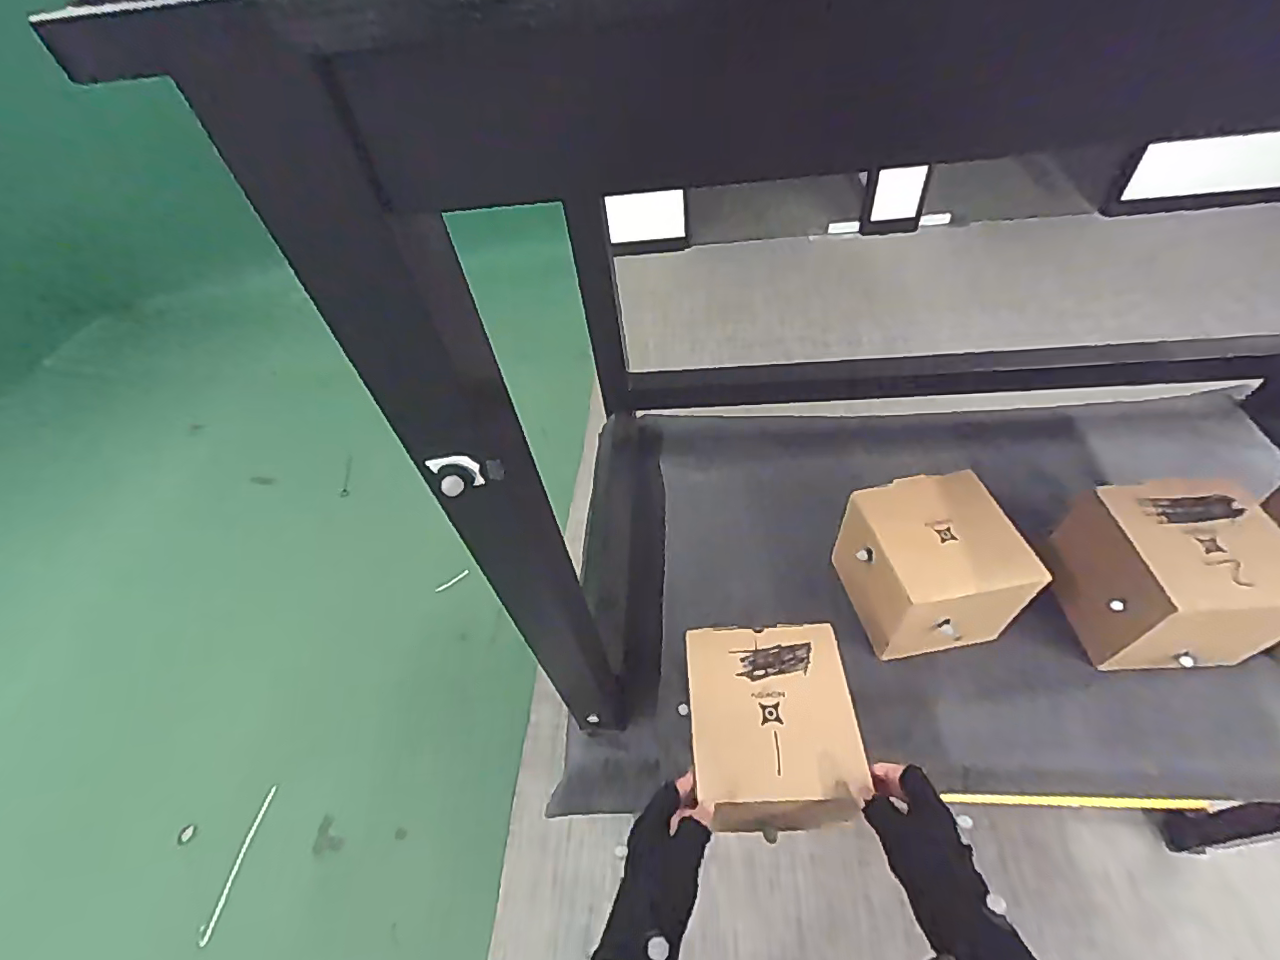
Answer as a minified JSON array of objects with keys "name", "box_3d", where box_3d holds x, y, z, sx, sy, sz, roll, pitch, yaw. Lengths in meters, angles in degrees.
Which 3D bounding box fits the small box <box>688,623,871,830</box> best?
[{"name":"small box","box_3d":[0.140,0.282,0.617,0.168,0.176,0.179,-4,49,4]}]

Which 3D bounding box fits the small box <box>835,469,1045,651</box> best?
[{"name":"small box","box_3d":[0.383,0.115,0.731,0.168,0.176,0.179,-11,48,-1]}]
